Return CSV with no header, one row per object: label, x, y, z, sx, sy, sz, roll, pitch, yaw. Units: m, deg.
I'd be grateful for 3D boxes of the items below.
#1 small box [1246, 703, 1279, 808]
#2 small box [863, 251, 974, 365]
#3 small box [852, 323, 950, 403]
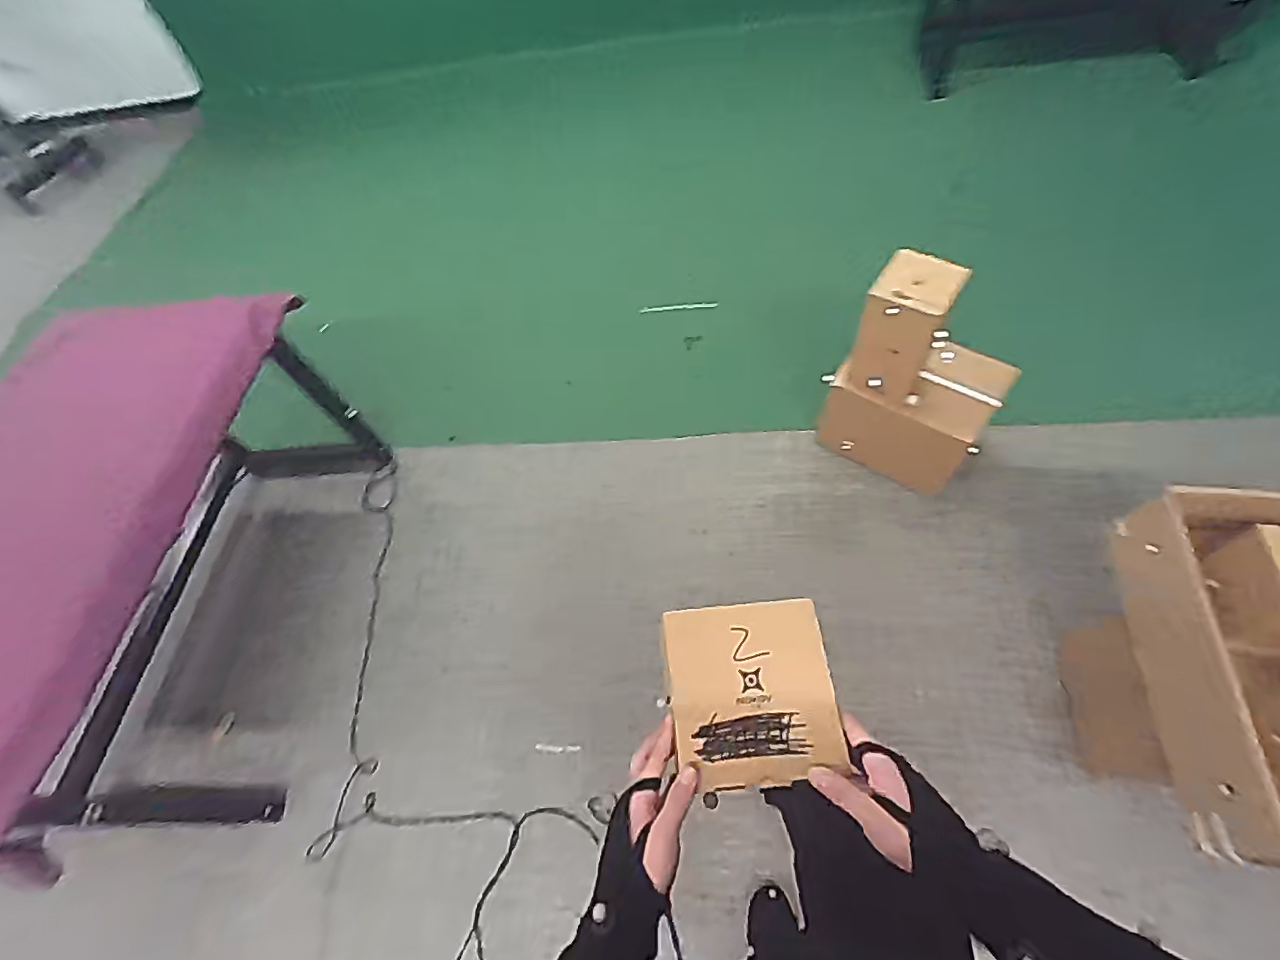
small box,1.119,0.435,0.827,0.179,0.176,0.168,5,61,13
small box,0.672,-0.418,1.324,0.168,0.176,0.179,31,69,23
small box,0.698,-0.344,1.468,0.168,0.176,0.179,31,70,23
